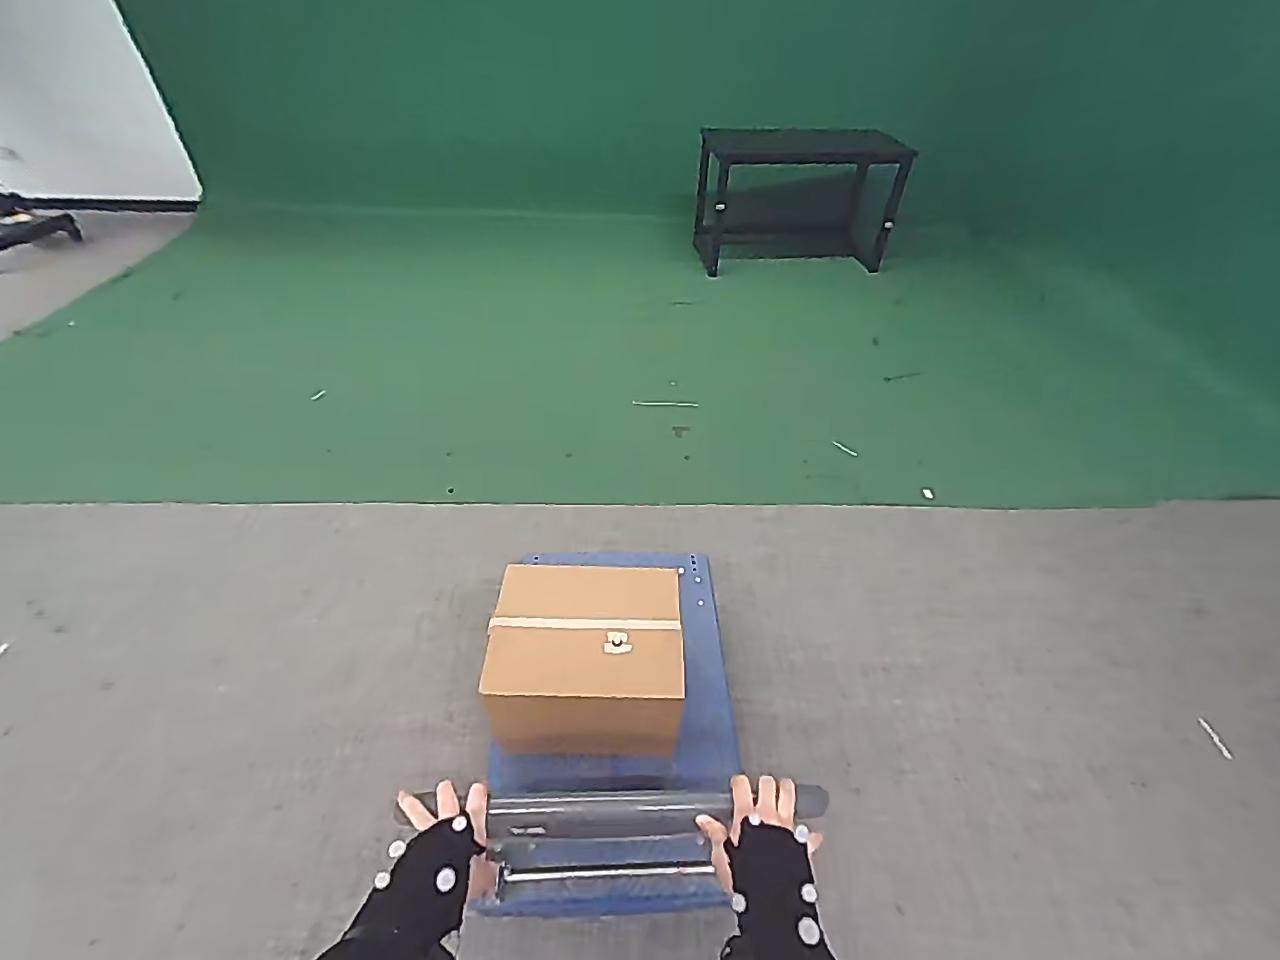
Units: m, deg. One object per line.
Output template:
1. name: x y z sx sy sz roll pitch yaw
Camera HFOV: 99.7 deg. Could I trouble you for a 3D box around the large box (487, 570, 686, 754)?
1. large box: -0.115 0.432 1.281 0.408 0.320 0.320 2 44 -2
